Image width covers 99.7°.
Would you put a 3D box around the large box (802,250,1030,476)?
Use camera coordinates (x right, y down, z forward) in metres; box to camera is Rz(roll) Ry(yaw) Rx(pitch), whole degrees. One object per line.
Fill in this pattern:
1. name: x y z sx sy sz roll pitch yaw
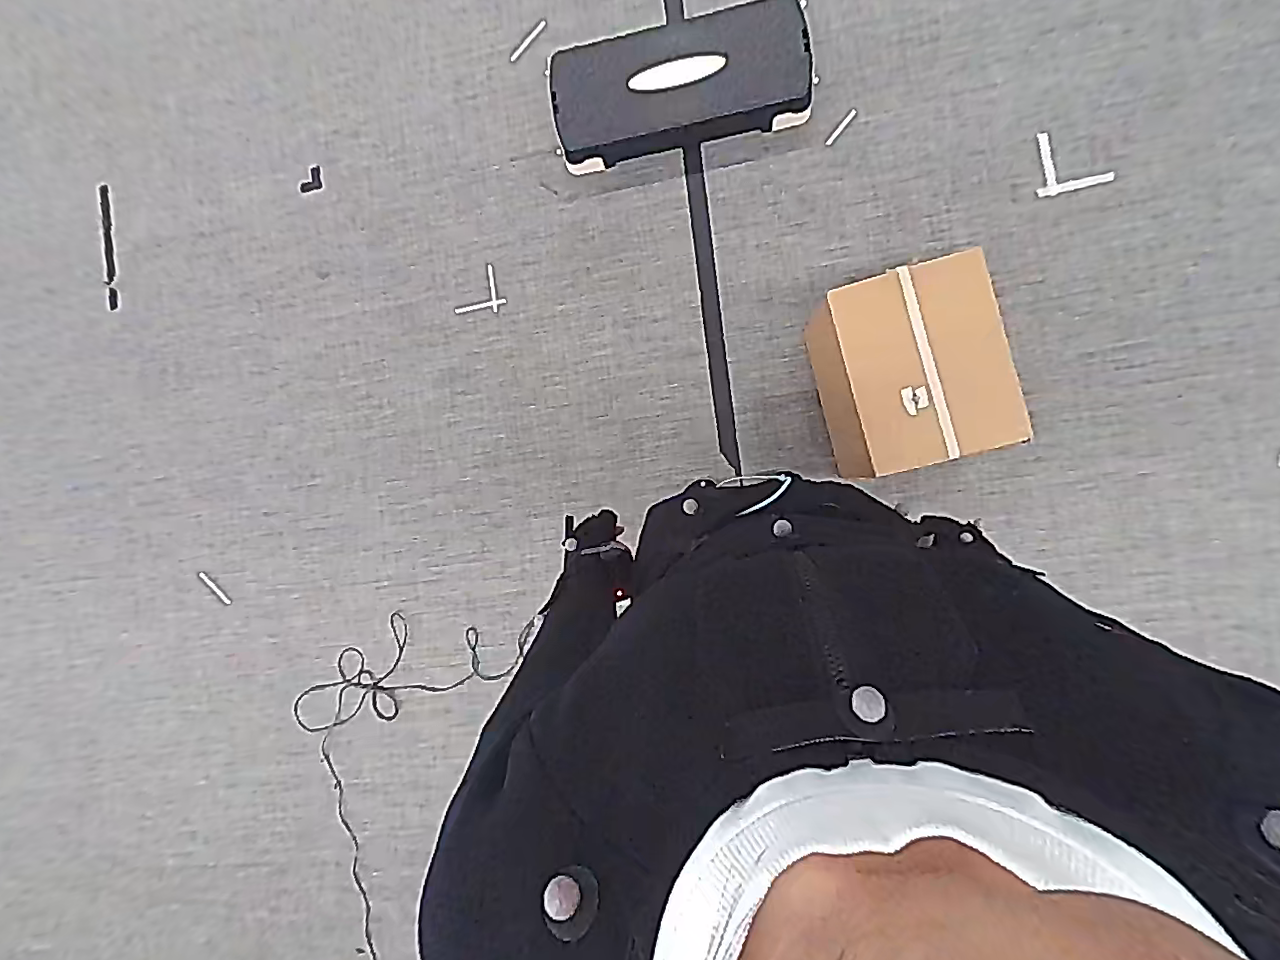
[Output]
1. large box: 0.602 -0.240 1.252 0.320 0.320 0.408 -15 89 8
